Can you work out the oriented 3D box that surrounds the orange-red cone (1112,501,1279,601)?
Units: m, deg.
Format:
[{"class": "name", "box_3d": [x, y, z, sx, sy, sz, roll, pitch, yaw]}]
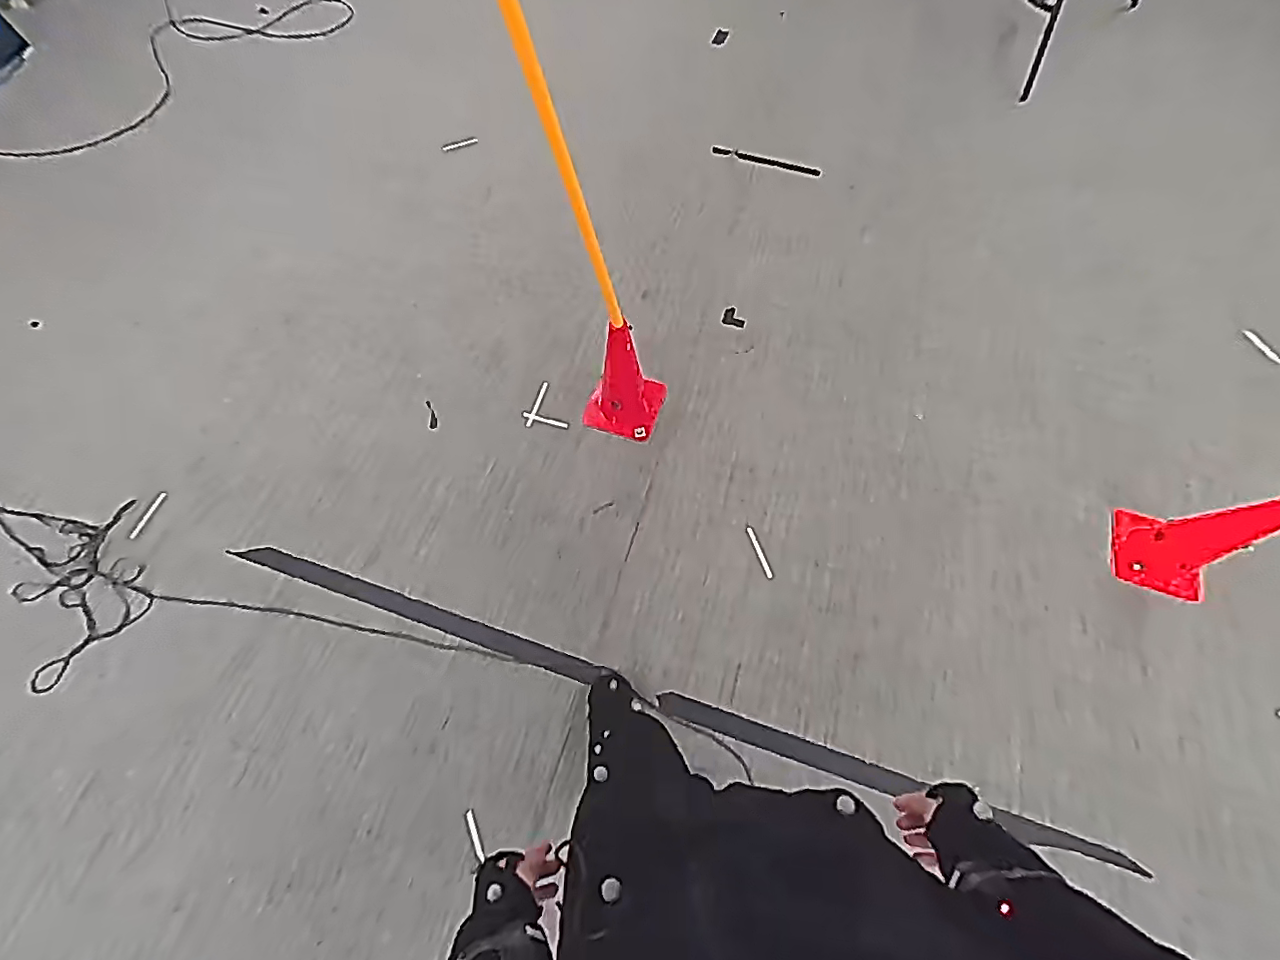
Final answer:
[{"class": "orange-red cone", "box_3d": [1.286, 0.115, 1.186, 0.199, 0.360, 0.198, 20, 69, 9]}]
